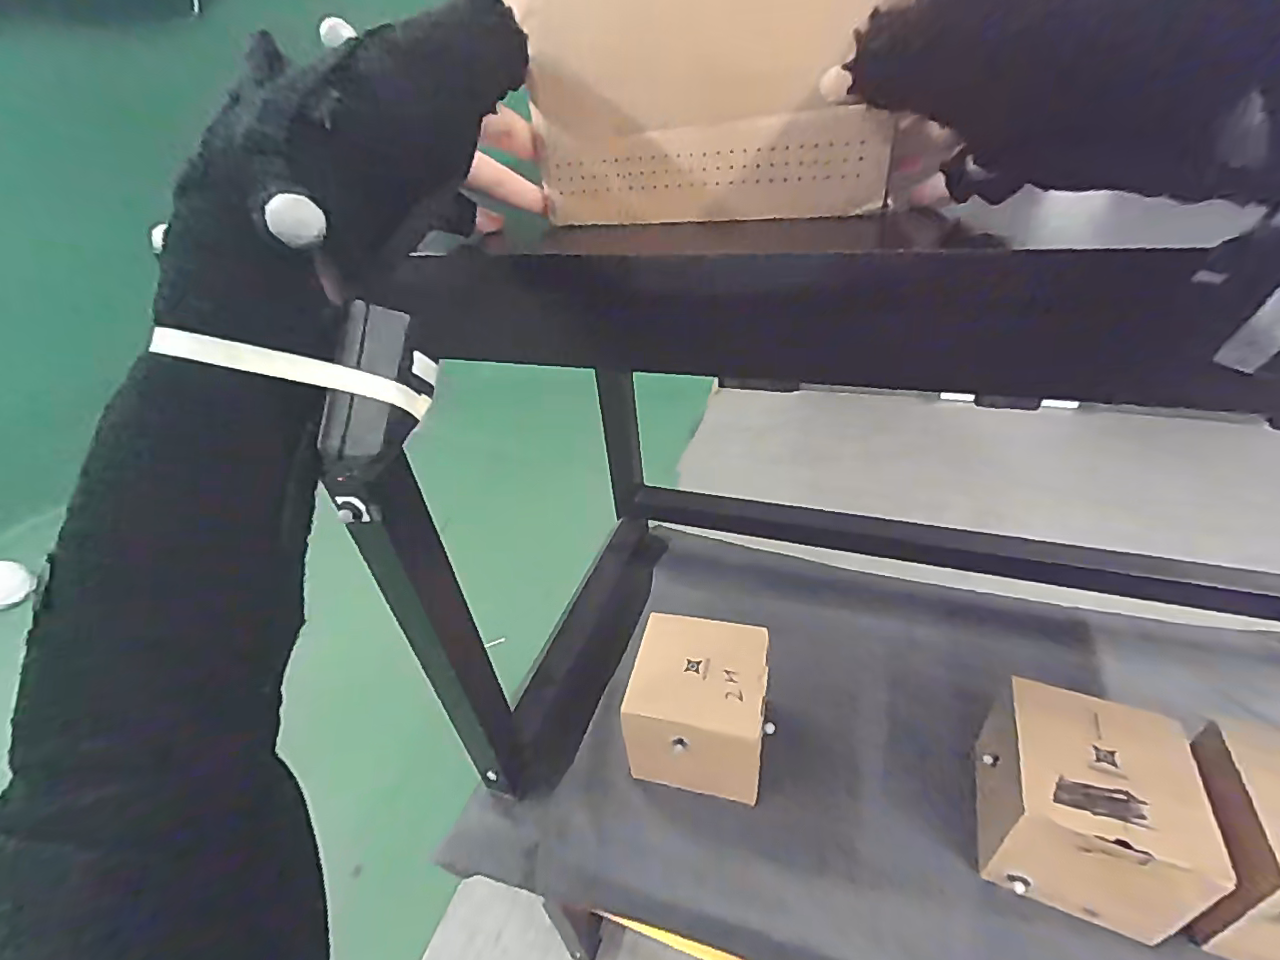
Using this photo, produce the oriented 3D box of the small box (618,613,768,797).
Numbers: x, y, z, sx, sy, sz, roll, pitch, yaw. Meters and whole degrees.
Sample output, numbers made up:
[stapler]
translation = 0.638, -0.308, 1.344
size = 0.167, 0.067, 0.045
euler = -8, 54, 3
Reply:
[small box]
translation = 0.083, 0.317, 0.768
size = 0.179, 0.176, 0.168
euler = 5, 38, 15
